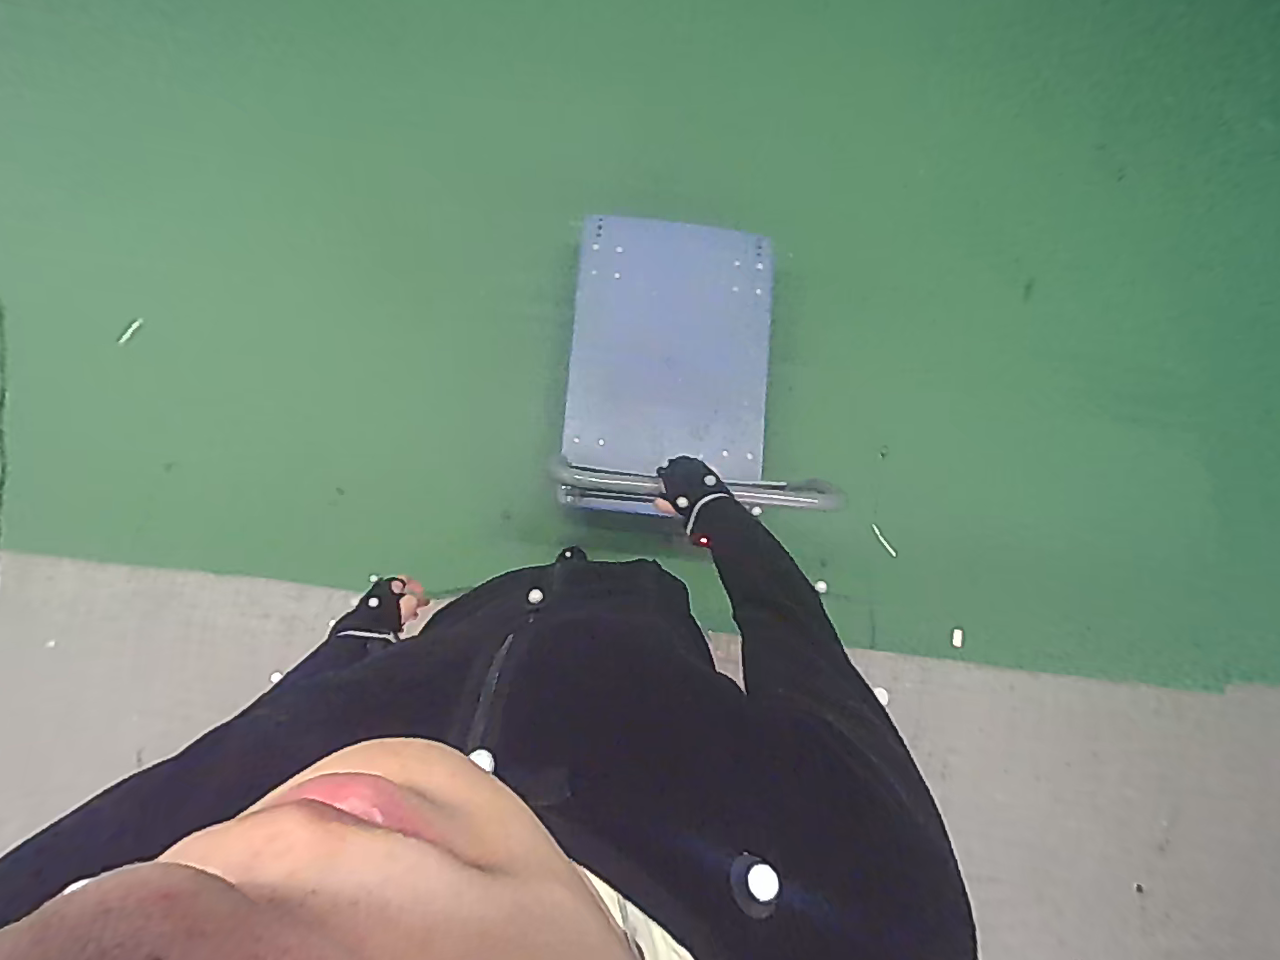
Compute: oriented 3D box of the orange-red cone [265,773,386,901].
[{"bbox_3d":[-0.795,0.900,1.324,0.199,0.360,0.198,-7,83,-4],"label":"orange-red cone"}]
